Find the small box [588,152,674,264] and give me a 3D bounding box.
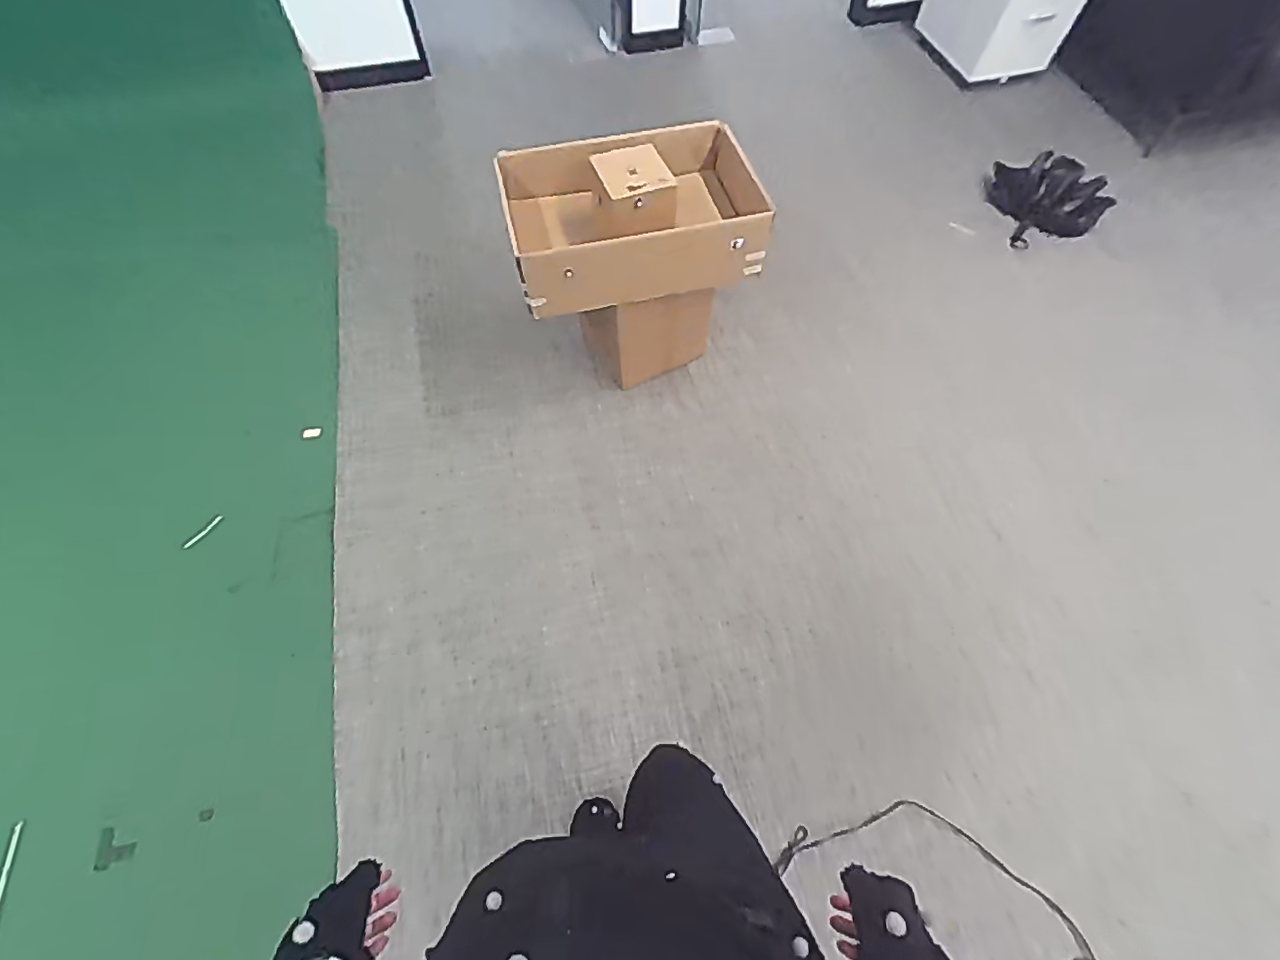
[{"bbox_3d":[-0.024,-0.684,1.366,0.168,0.176,0.179,-20,63,-9],"label":"small box"}]
